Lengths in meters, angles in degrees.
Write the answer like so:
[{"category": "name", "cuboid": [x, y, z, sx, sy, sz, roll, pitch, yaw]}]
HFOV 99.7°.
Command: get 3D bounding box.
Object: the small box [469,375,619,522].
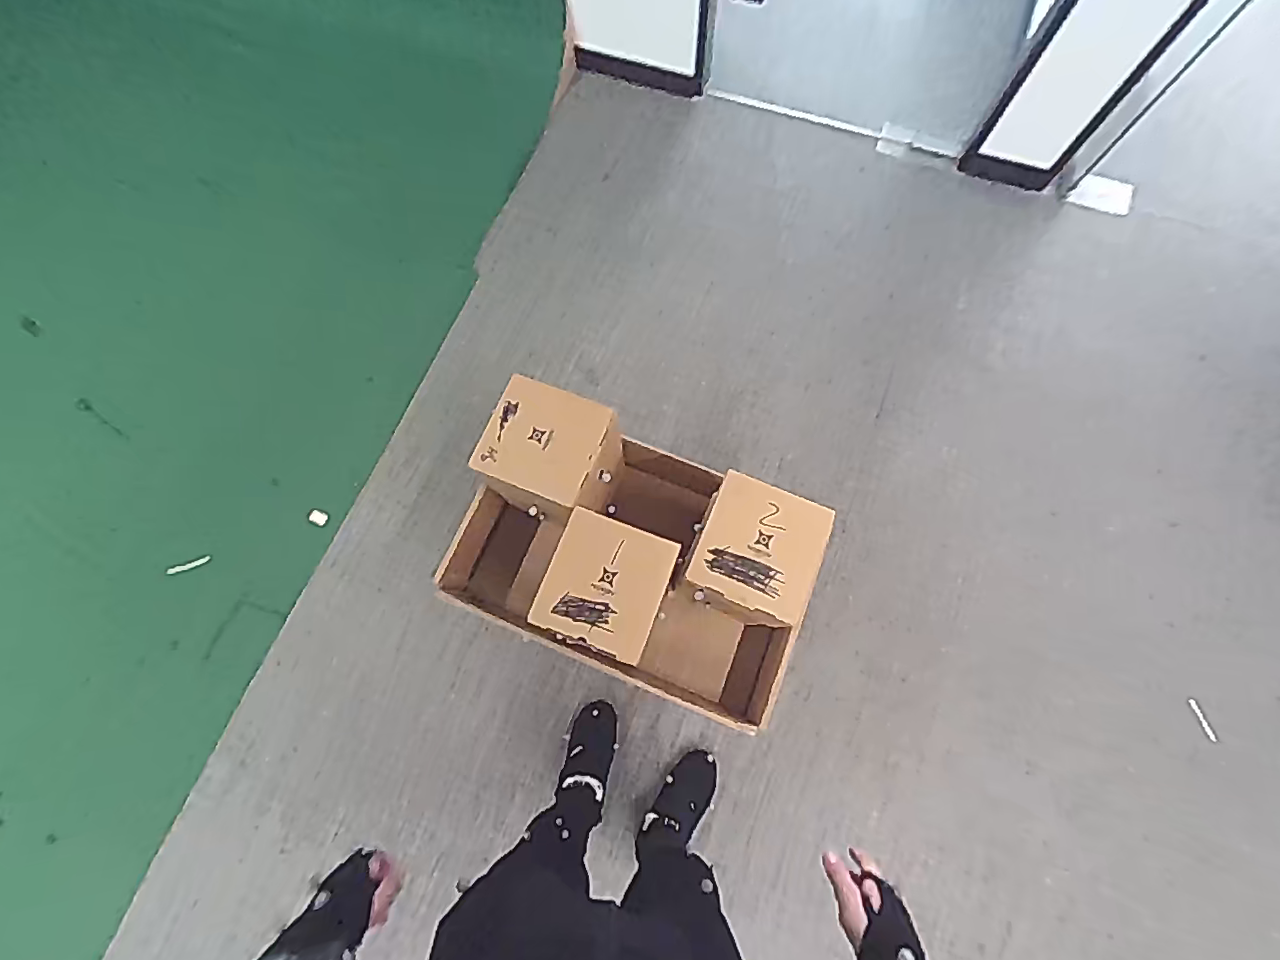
[{"category": "small box", "cuboid": [-0.143, -0.041, 0.888, 0.179, 0.176, 0.168, 22, 76, 6]}]
